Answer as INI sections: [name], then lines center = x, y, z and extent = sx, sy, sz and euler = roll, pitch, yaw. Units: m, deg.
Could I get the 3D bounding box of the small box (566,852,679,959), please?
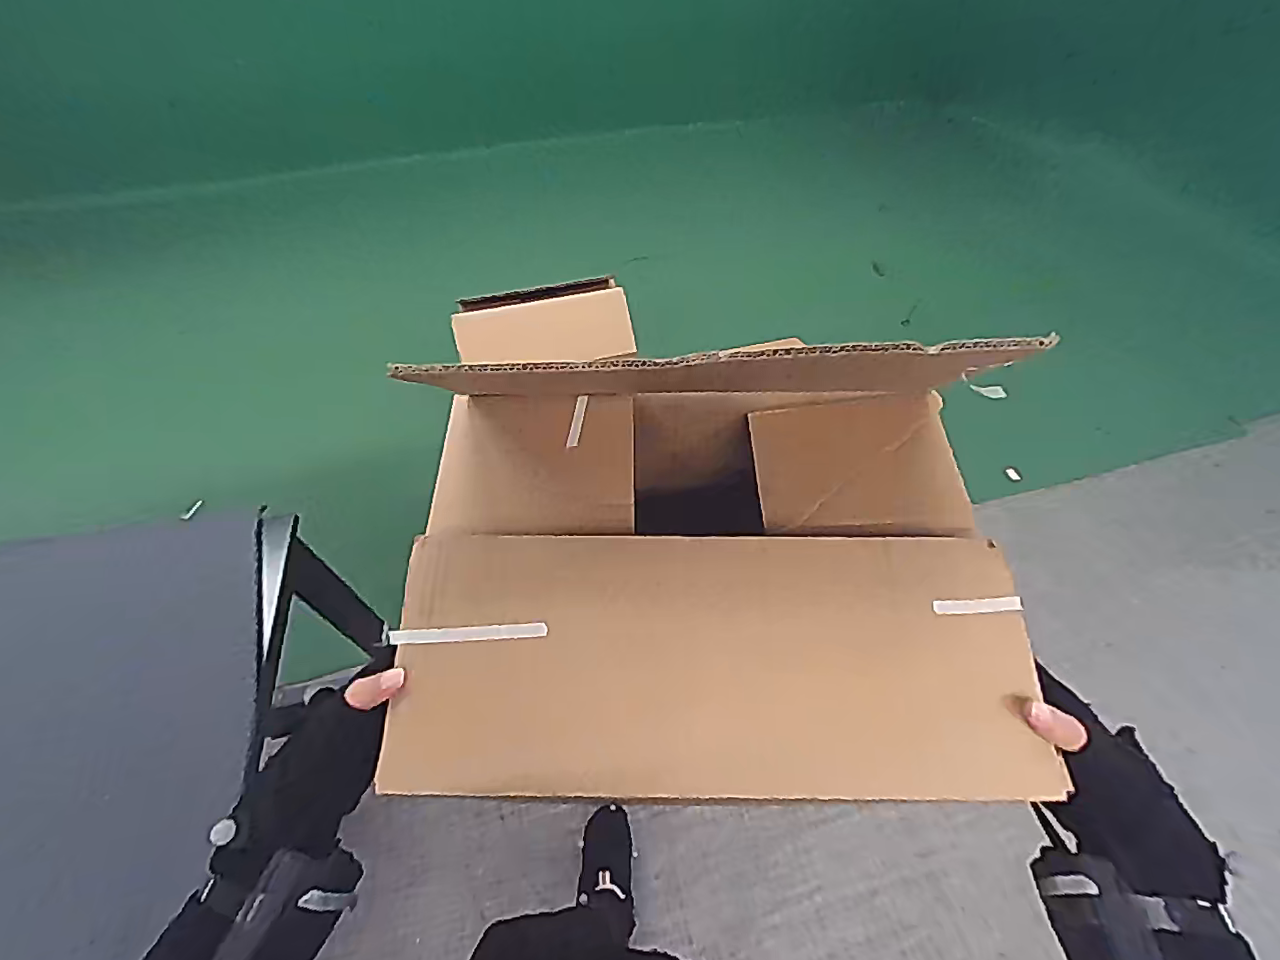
[small box]
center = -0.039, 0.883, 1.082
extent = 0.168, 0.176, 0.179
euler = 23, 61, 2
